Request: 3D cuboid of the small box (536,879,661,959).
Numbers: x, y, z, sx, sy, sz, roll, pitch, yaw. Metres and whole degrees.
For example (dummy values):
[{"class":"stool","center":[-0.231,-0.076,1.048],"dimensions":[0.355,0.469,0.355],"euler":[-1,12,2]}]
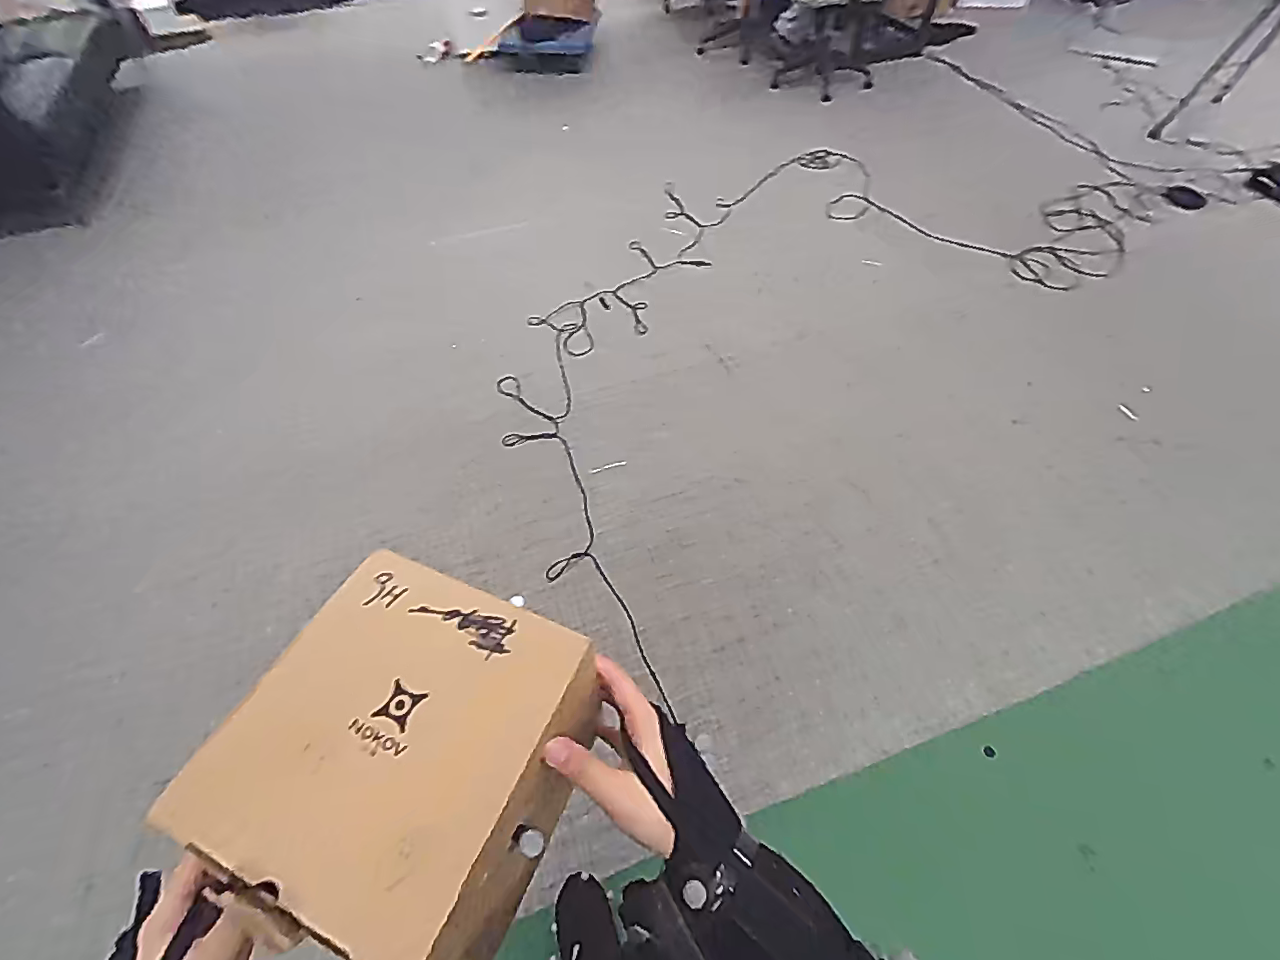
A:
[{"class":"small box","center":[-0.077,0.855,0.979],"dimensions":[0.179,0.176,0.168],"euler":[10,54,21]}]
